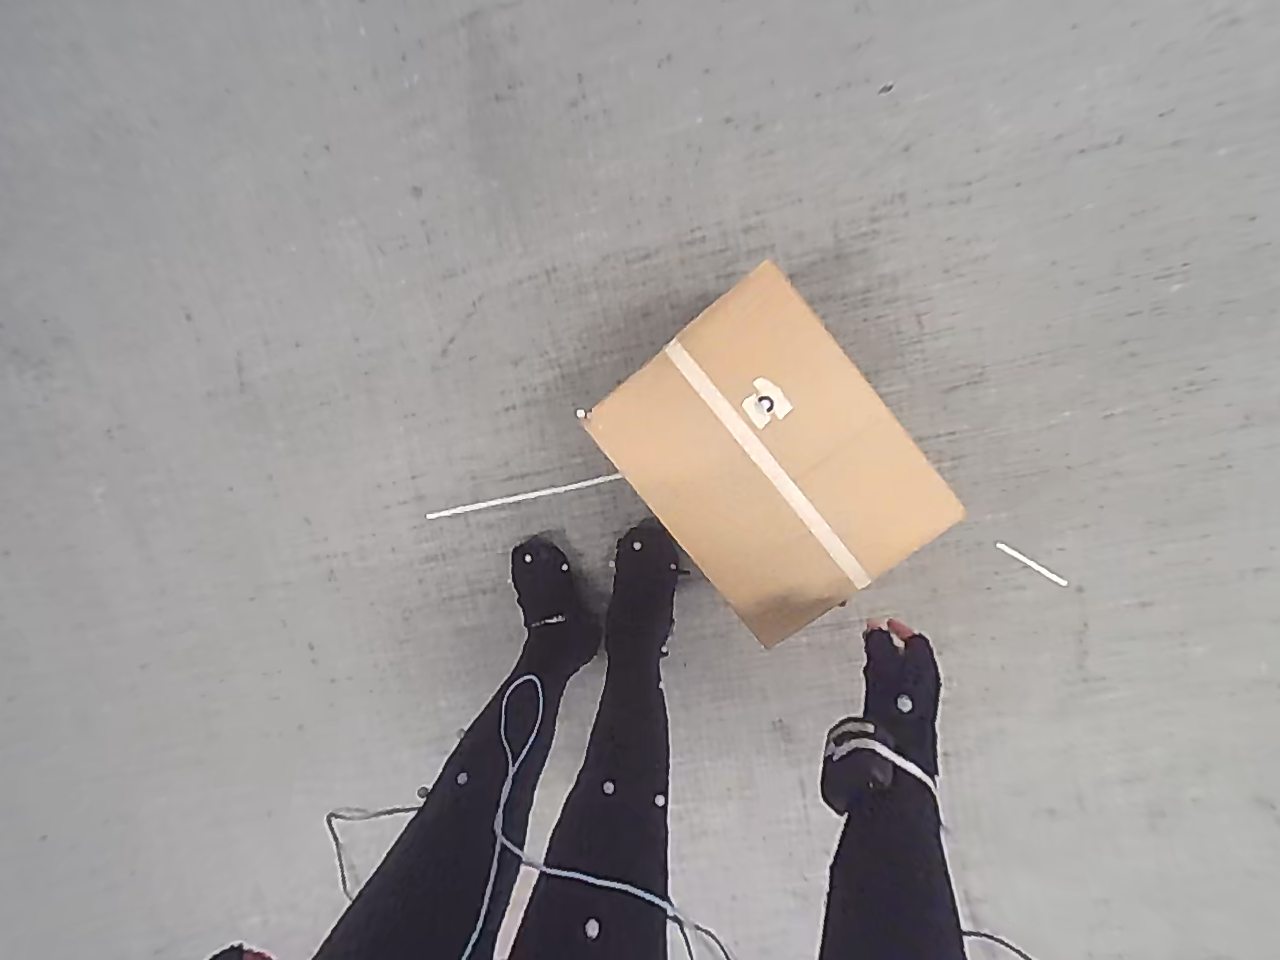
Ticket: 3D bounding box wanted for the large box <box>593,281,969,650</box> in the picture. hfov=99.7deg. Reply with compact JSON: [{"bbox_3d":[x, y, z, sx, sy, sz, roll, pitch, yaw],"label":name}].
[{"bbox_3d":[0.199,-0.030,0.849,0.320,0.320,0.408,-39,92,12],"label":"large box"}]
